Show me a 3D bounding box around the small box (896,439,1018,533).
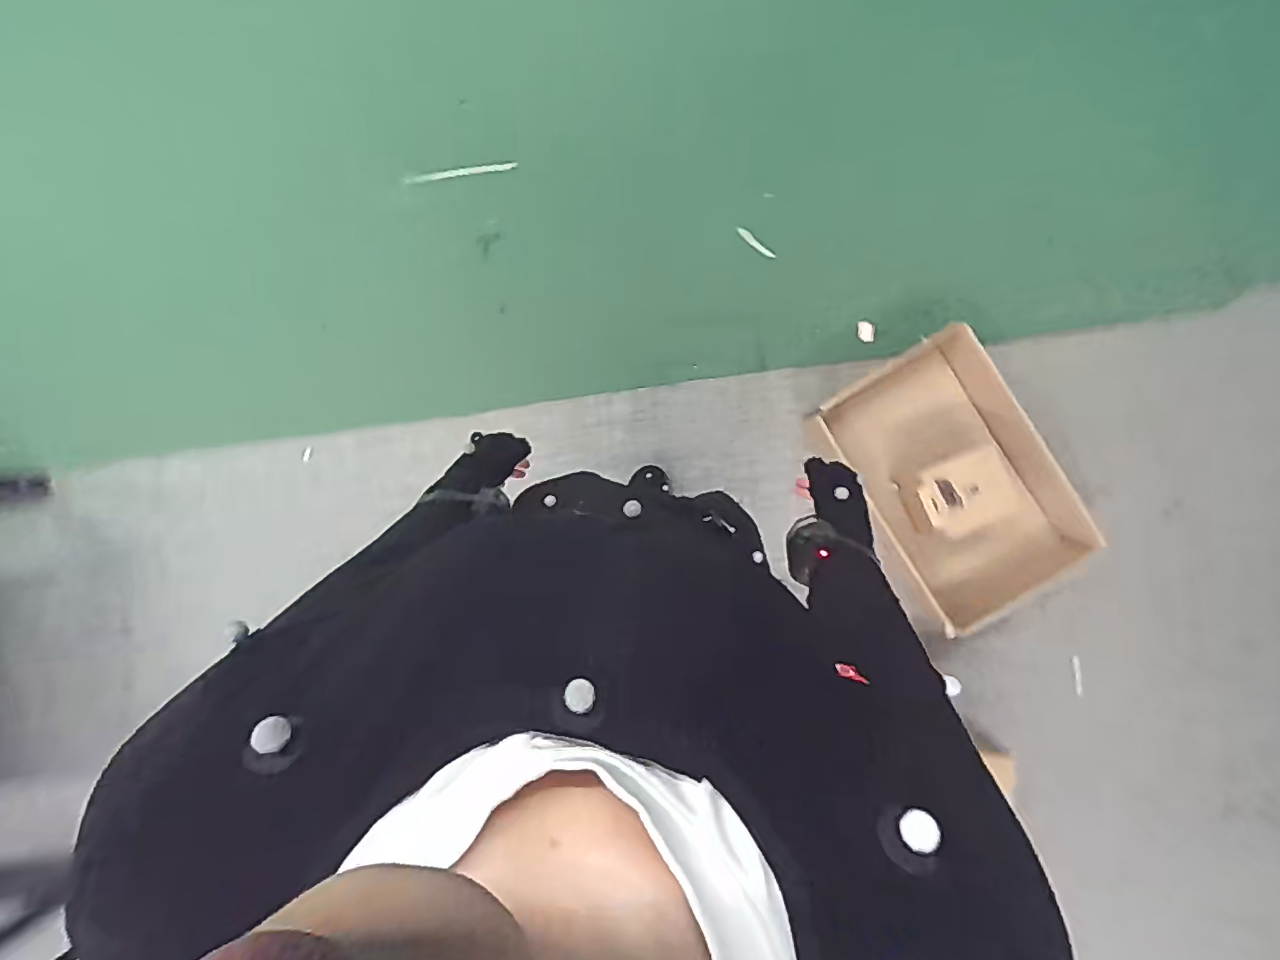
[{"bbox_3d":[0.739,0.015,1.288,0.179,0.176,0.168,-23,89,2],"label":"small box"}]
